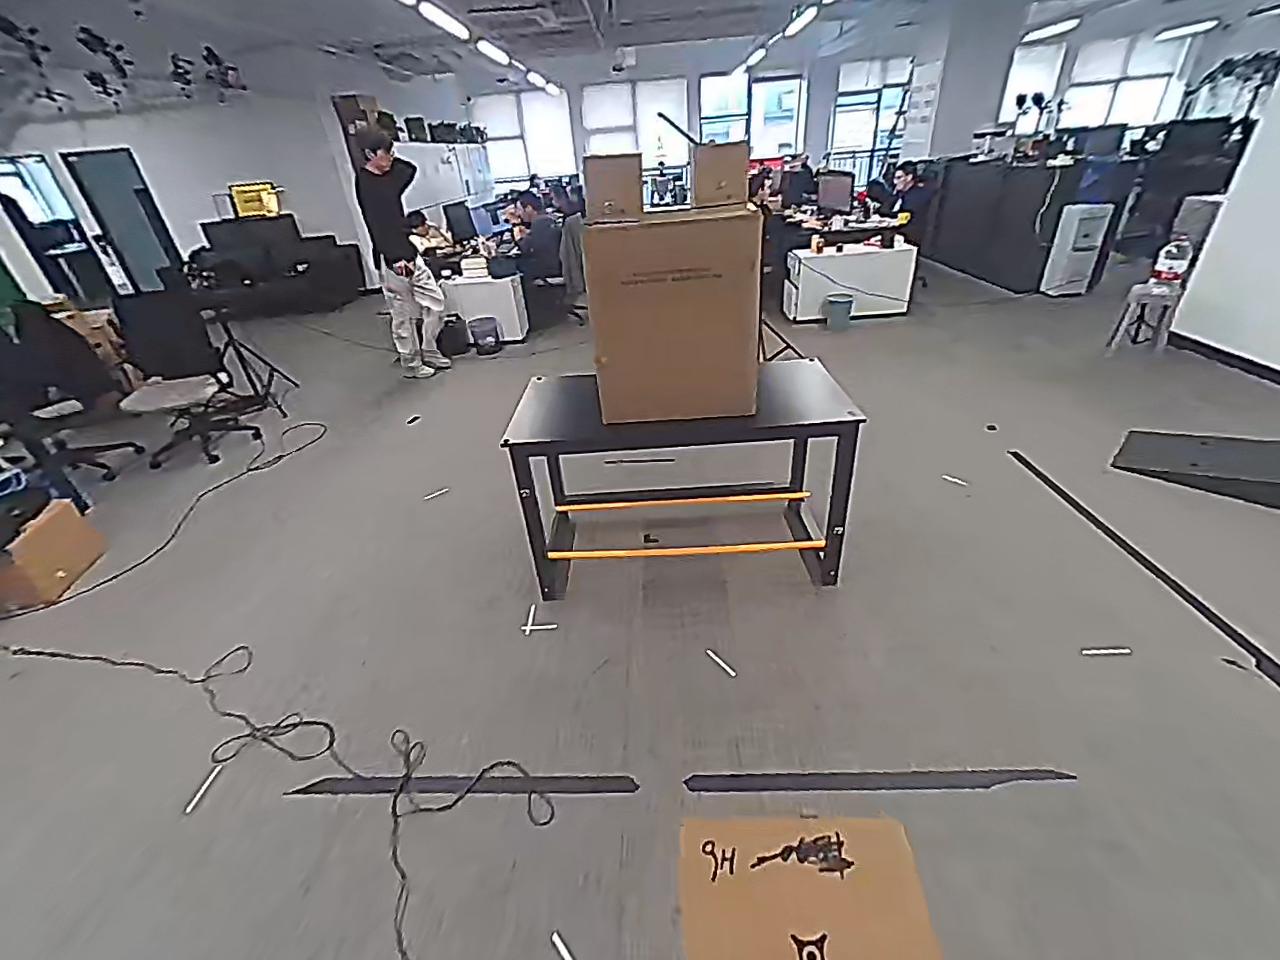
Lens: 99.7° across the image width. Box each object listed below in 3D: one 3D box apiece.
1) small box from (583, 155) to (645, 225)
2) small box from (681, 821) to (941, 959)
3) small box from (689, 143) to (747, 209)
[{"bbox_3d":[-0.071,-0.846,1.578,0.168,0.176,0.179,-2,33,2],"label":"small box"},{"bbox_3d":[0.118,0.372,0.397,0.168,0.176,0.179,-3,44,5],"label":"small box"},{"bbox_3d":[0.246,-0.964,1.721,0.168,0.176,0.179,-5,29,3],"label":"small box"}]
